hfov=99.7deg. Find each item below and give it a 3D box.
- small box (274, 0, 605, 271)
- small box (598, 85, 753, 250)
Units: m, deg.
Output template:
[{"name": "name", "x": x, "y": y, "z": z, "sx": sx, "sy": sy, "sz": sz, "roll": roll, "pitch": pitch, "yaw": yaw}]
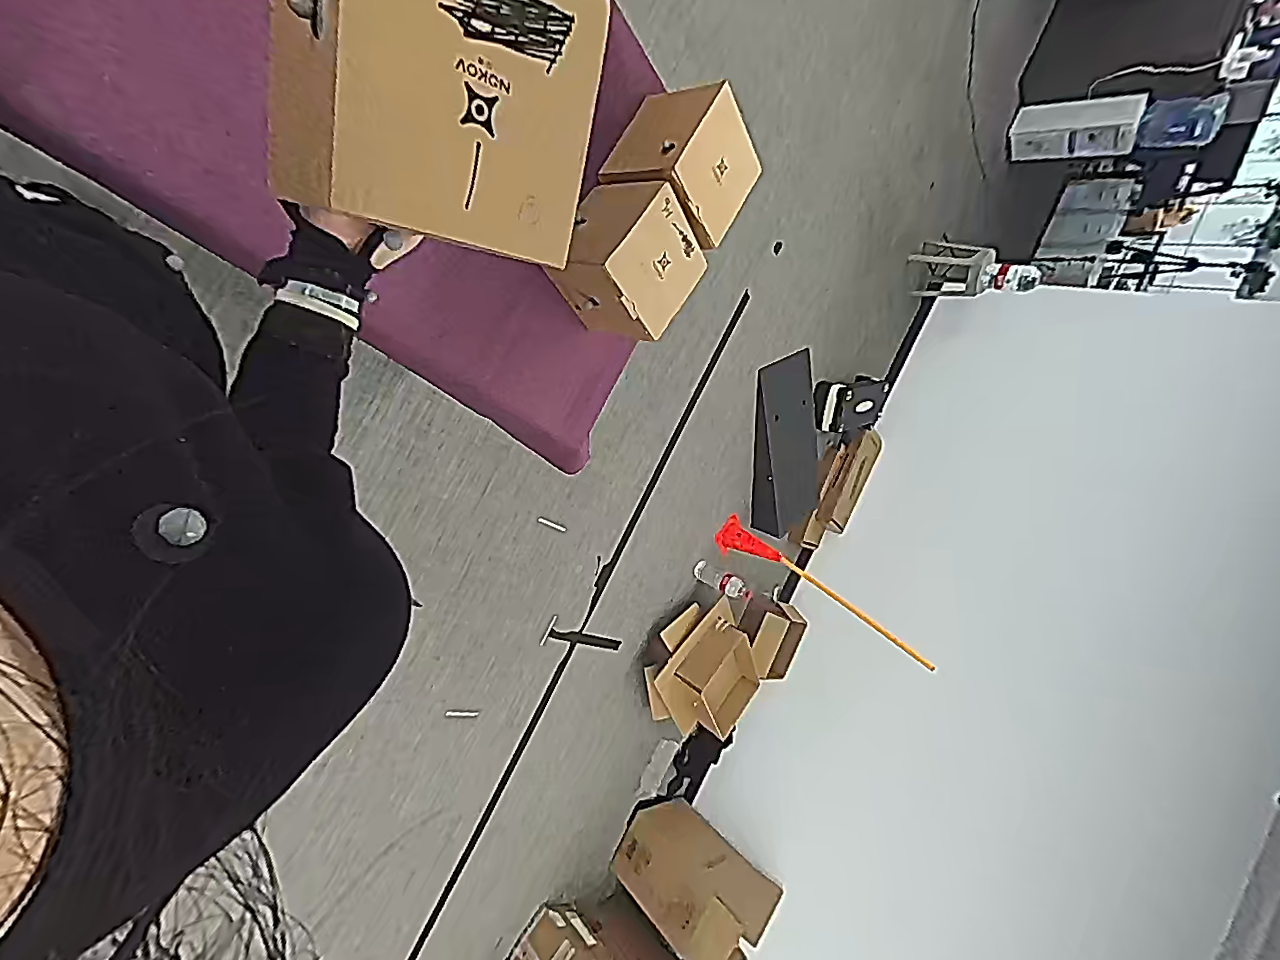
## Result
[{"name": "small box", "x": -0.154, "y": -0.270, "z": 0.396, "sx": 0.168, "sy": 0.176, "sz": 0.179, "roll": -5, "pitch": 116, "yaw": -44}, {"name": "small box", "x": 0.060, "y": -0.522, "z": 0.921, "sx": 0.168, "sy": 0.176, "sz": 0.179, "roll": 39, "pitch": 78, "yaw": -51}]
